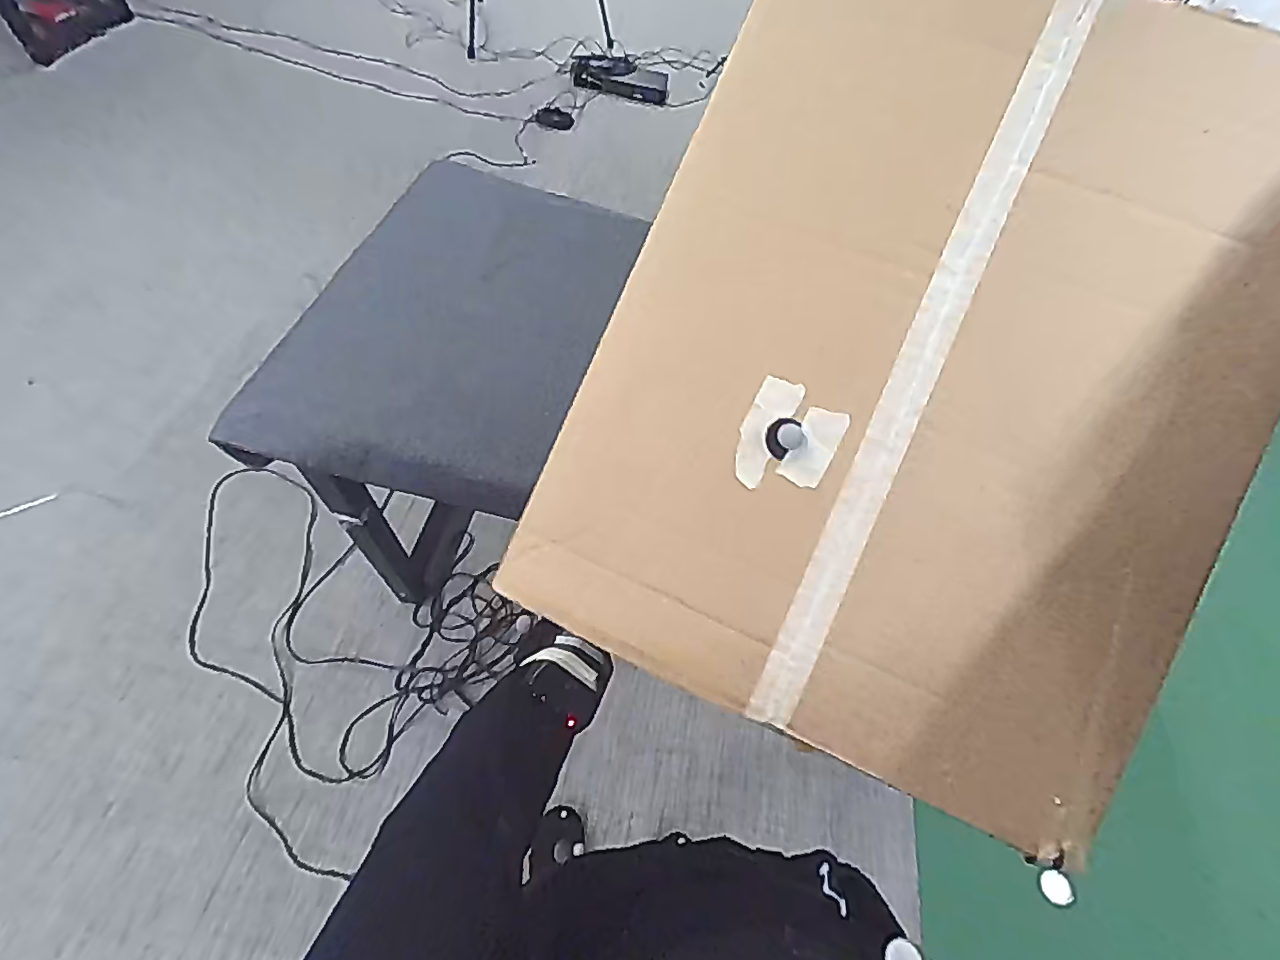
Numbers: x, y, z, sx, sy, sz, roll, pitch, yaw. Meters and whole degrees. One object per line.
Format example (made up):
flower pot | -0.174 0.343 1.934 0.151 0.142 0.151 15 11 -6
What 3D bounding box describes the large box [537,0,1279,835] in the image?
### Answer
large box | 0.168 -0.052 0.440 0.320 0.320 0.408 23 91 8
